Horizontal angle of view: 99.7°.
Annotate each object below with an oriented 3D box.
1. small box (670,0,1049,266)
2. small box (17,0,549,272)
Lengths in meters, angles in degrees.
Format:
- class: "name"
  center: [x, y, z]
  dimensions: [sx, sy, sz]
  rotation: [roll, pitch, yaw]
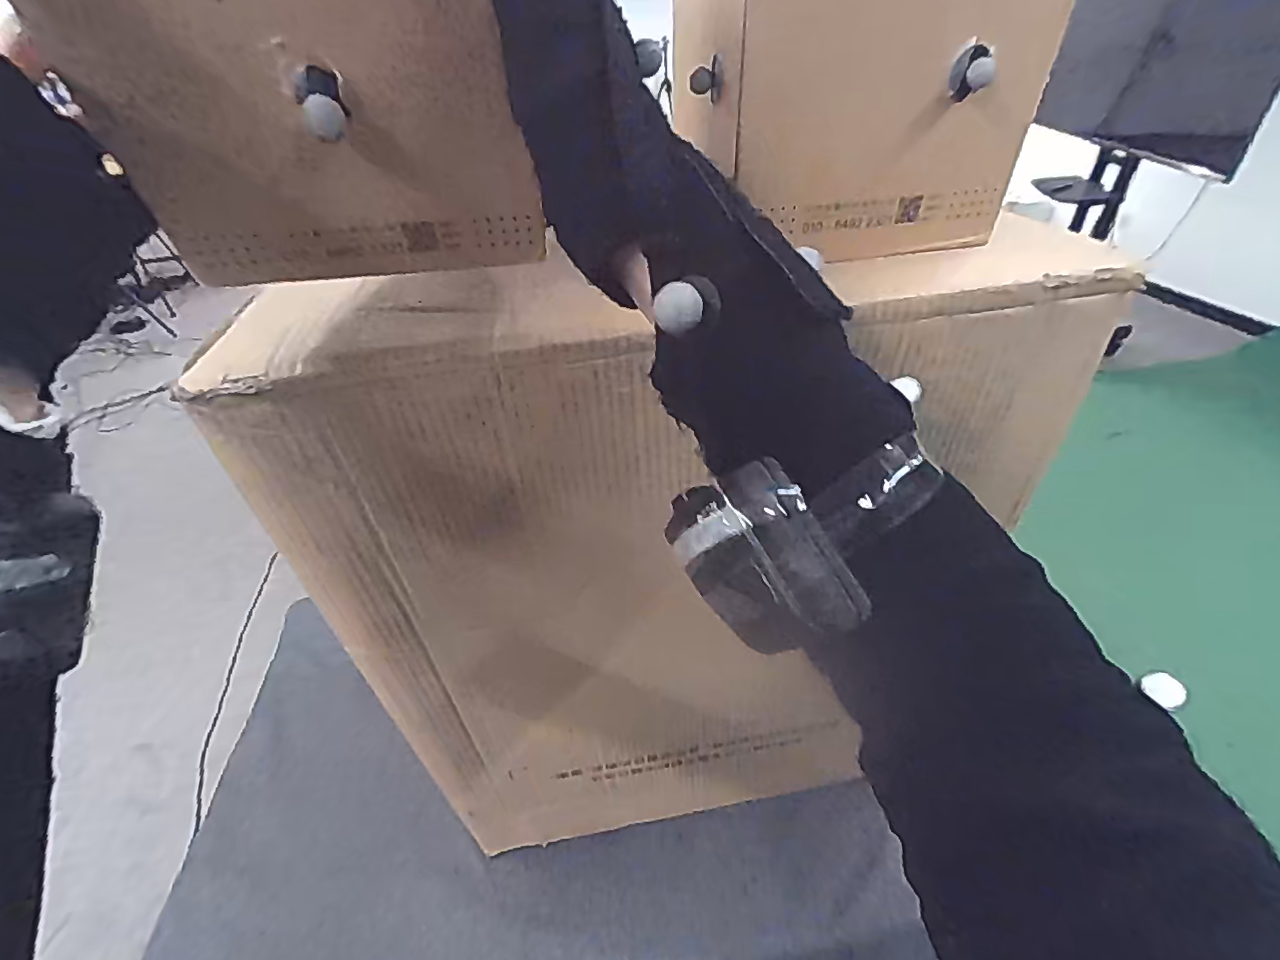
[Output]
- class: "small box"
  center: [0.116, -0.243, 0.344]
  dimensions: [0.168, 0.176, 0.179]
  rotation: [-7, 39, -8]
- class: "small box"
  center: [-0.137, -0.214, 0.248]
  dimensions: [0.168, 0.176, 0.179]
  rotation: [-9, 59, -12]
